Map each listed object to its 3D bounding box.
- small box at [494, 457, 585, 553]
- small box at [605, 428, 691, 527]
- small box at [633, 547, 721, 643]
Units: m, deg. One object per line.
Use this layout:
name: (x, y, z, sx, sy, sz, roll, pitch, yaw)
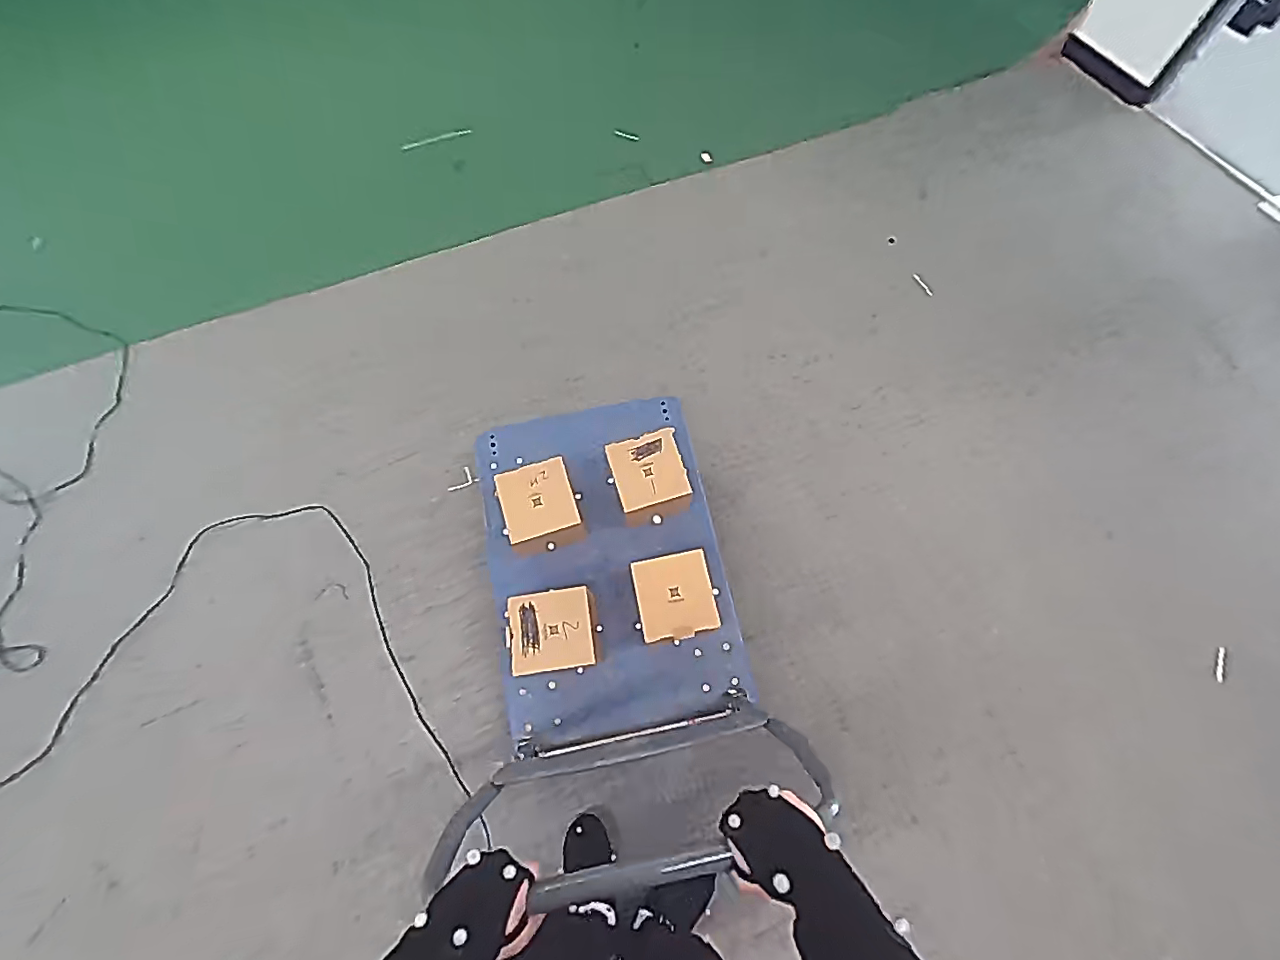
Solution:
small box: (-0.238, 0.070, 1.320, 0.168, 0.176, 0.179, -17, 72, -6)
small box: (0.018, -0.002, 1.342, 0.168, 0.176, 0.179, -17, 72, -4)
small box: (0.077, 0.270, 1.249, 0.168, 0.176, 0.179, -12, 72, -3)
